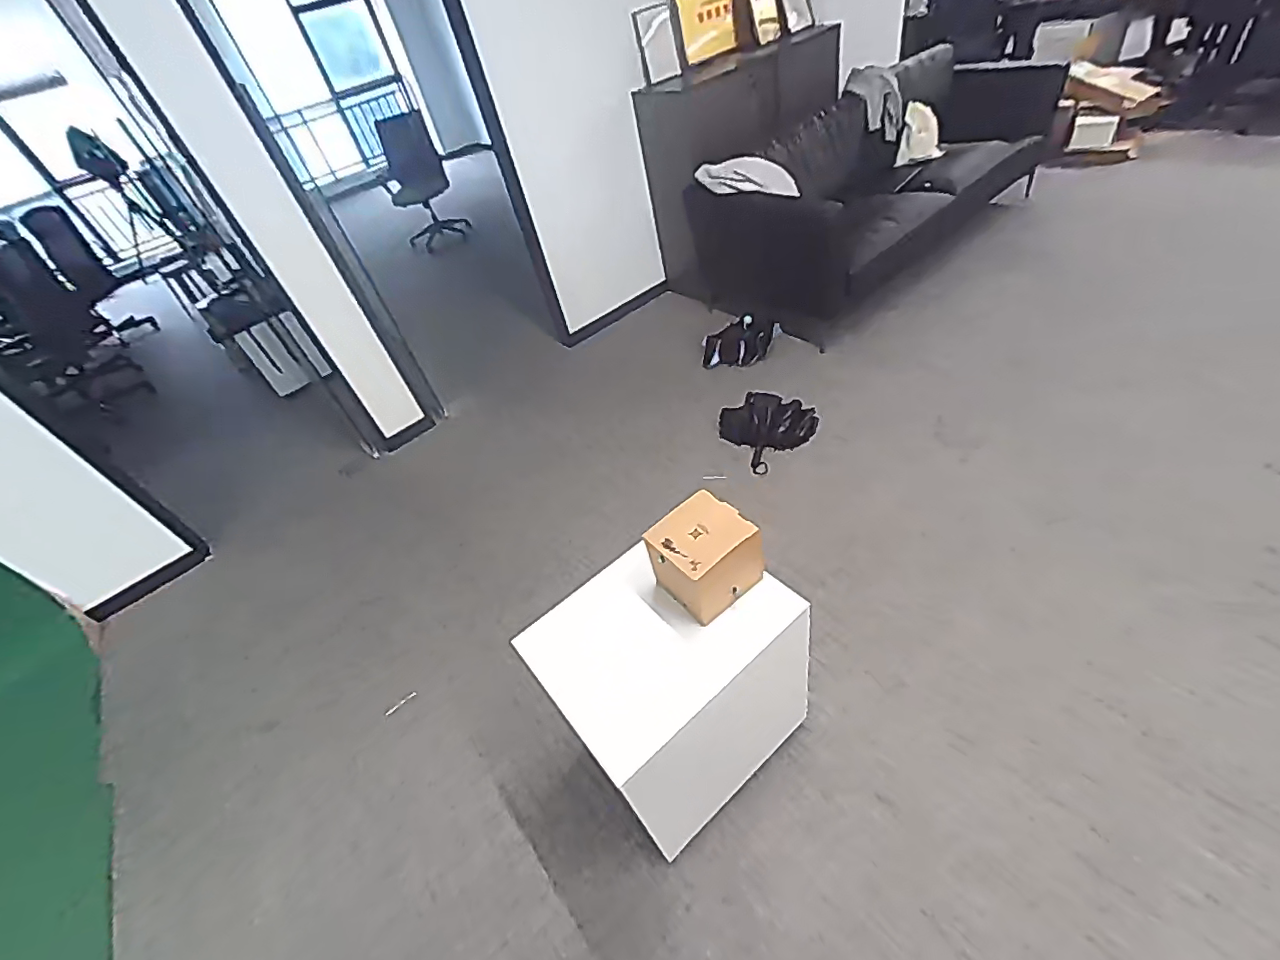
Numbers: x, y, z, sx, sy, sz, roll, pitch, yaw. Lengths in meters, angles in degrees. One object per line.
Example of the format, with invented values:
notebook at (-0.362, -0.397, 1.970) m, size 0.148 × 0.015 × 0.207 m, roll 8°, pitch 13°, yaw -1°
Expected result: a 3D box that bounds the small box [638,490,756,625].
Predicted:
small box at (0.119, 0.159, 1.118) m, size 0.179 × 0.176 × 0.168 m, roll -34°, pitch 47°, yaw -22°
